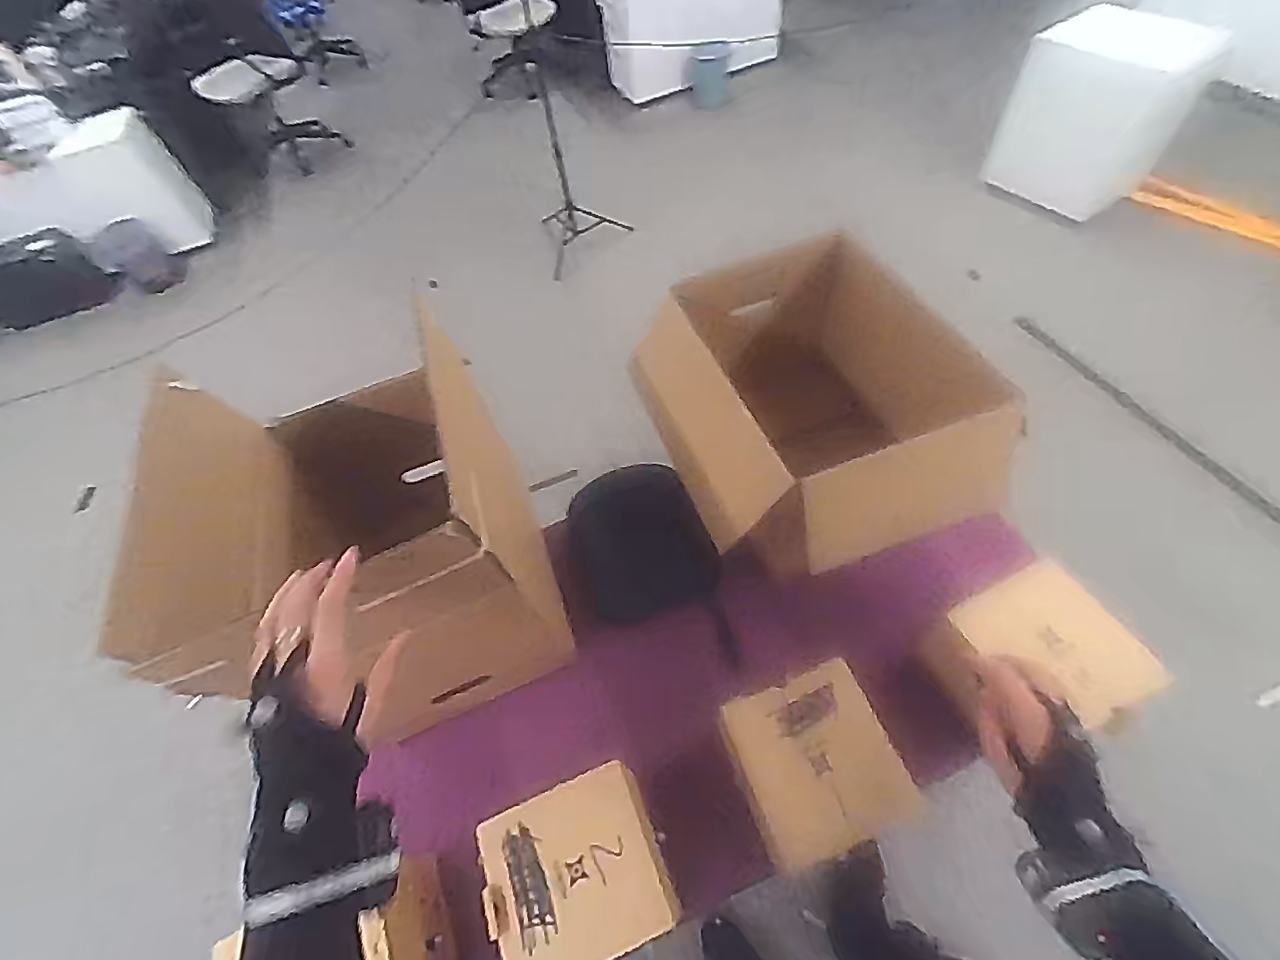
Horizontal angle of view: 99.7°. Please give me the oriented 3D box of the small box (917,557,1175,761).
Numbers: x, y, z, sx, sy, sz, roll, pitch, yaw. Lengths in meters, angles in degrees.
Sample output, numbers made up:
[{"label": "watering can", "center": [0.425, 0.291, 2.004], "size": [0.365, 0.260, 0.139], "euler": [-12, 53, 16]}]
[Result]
[{"label": "small box", "center": [0.501, 0.237, 0.704], "size": [0.168, 0.176, 0.179], "euler": [-26, 57, -7]}]

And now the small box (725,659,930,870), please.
[{"label": "small box", "center": [0.212, 0.353, 0.673], "size": [0.168, 0.176, 0.179], "euler": [-20, 57, -5]}]
